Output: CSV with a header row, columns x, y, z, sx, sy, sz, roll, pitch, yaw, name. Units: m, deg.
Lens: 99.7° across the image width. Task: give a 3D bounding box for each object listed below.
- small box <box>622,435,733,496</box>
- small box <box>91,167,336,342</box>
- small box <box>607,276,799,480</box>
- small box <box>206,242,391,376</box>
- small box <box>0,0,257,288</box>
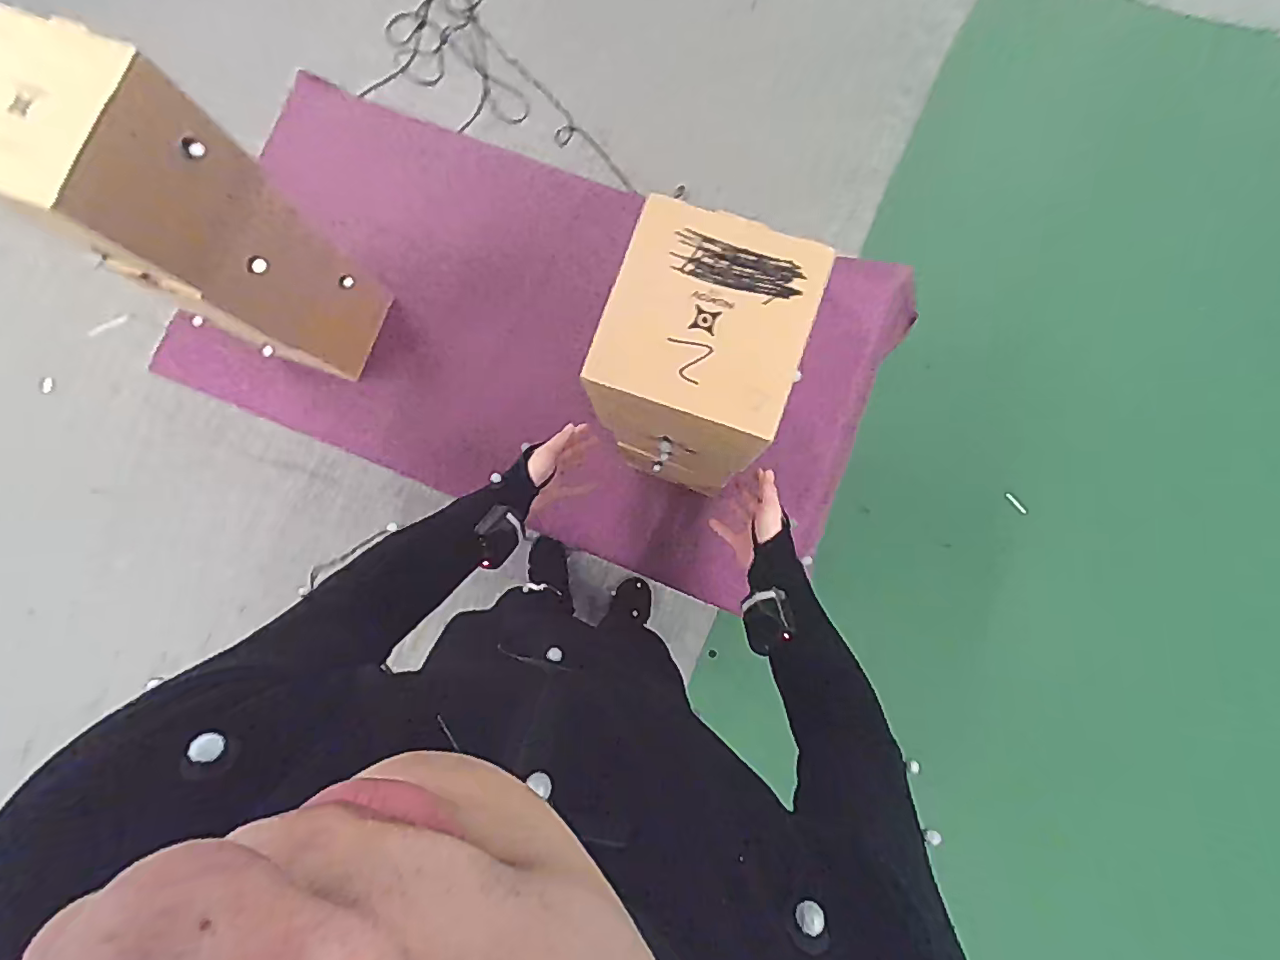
x,y,z,sx,sy,sz,roll,pitch,yaw,name
0.083,-0.089,0.843,0.168,0.176,0.179,21,84,6,small box
-0.560,-0.314,0.738,0.168,0.176,0.179,21,83,5,small box
0.075,-0.113,0.679,0.168,0.176,0.179,23,83,5,small box
-0.552,-0.295,0.902,0.168,0.176,0.179,20,84,5,small box
-0.562,-0.342,0.577,0.168,0.176,0.179,21,84,6,small box
